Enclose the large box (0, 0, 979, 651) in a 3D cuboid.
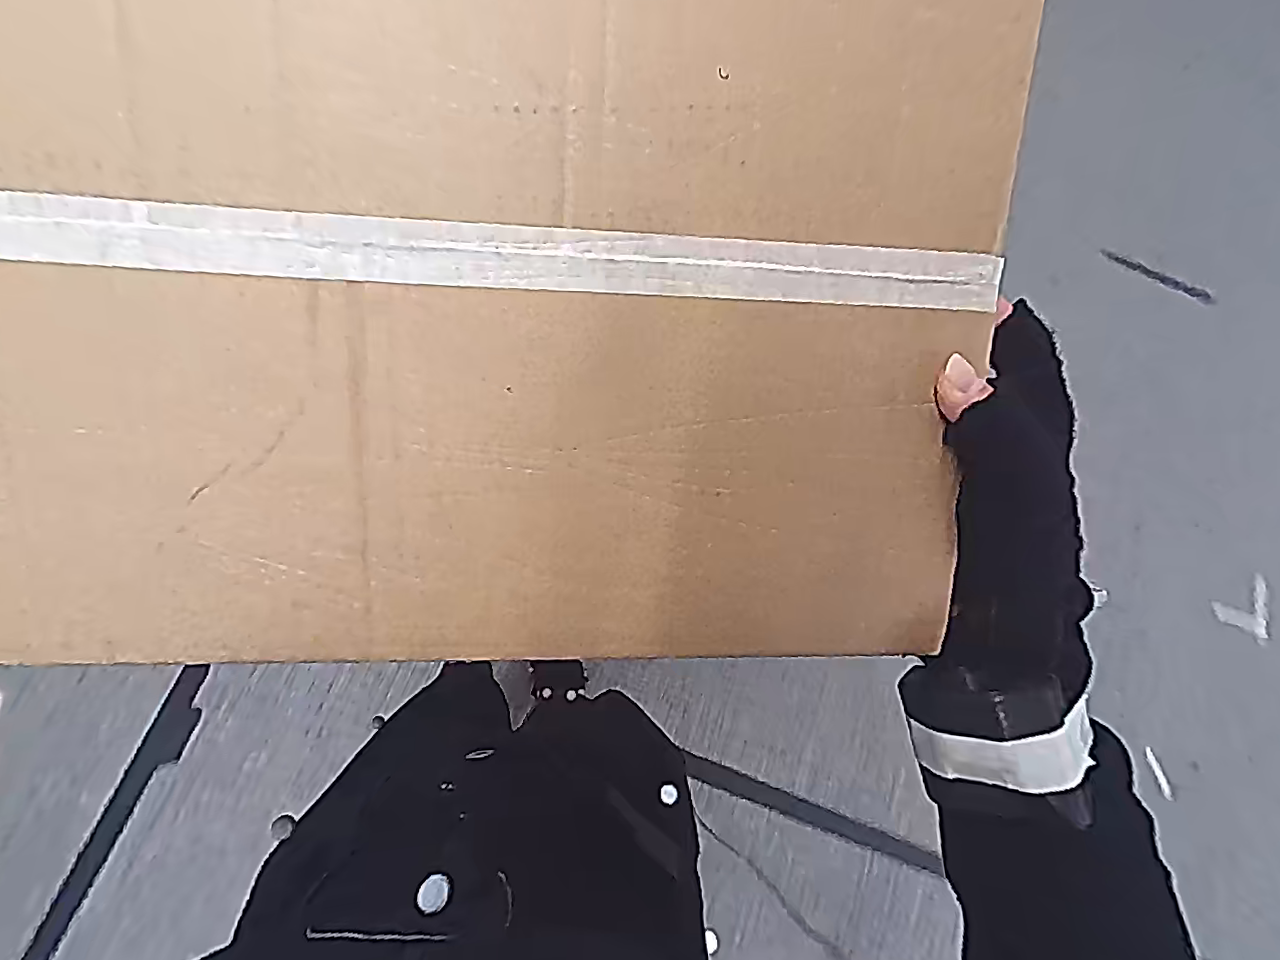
[{"bbox_3d":[-0.086,-0.113,0.349,0.408,0.320,0.320,0,101,-7],"label":"large box"}]
